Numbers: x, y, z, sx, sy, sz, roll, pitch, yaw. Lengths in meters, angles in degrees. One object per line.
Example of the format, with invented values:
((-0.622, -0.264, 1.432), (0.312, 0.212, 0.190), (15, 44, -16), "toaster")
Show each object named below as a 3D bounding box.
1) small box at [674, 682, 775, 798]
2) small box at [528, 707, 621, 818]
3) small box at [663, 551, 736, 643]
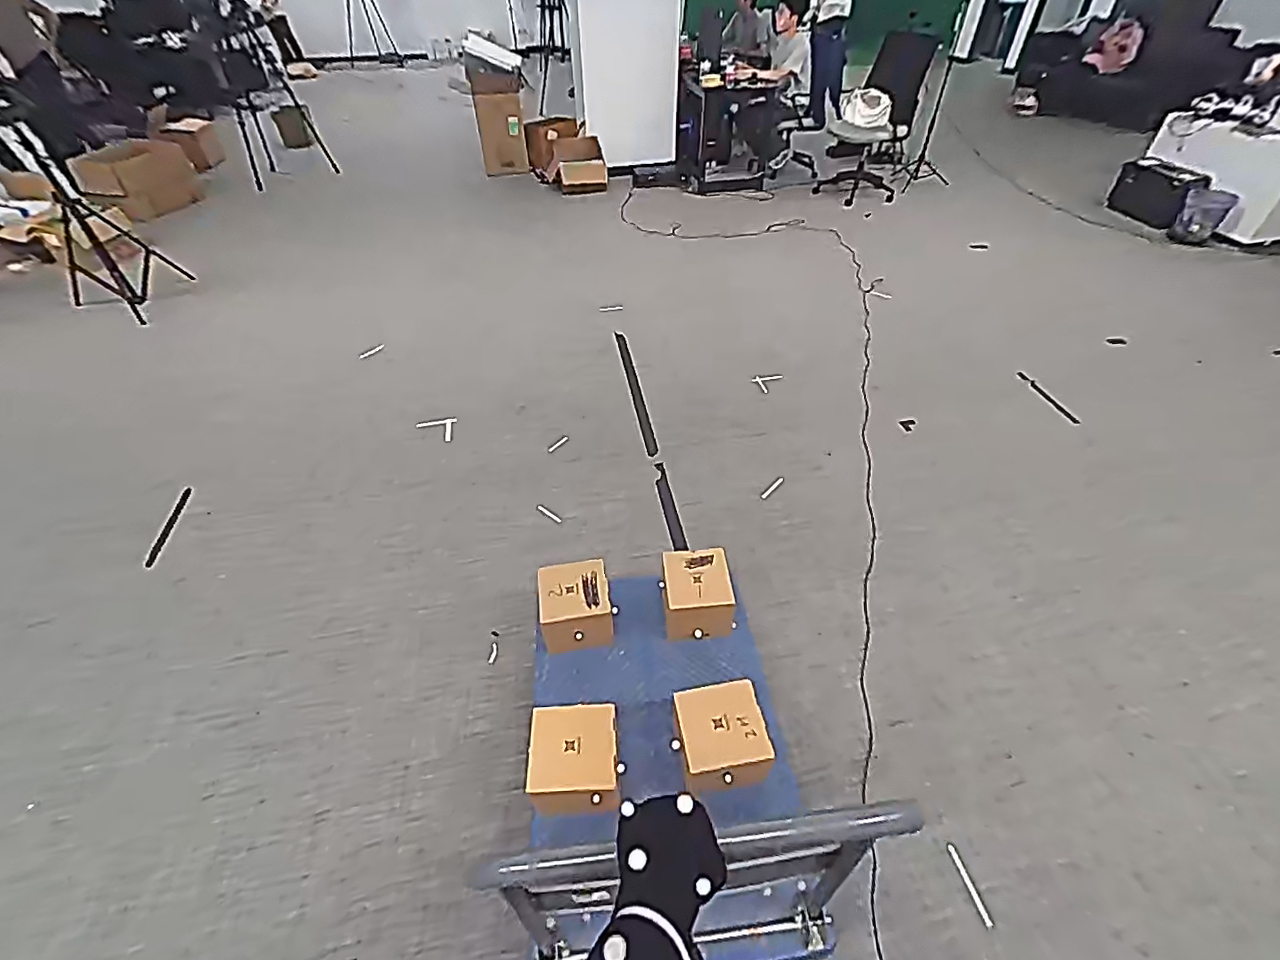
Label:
((0.176, 0.567, 1.172), (0.179, 0.176, 0.168), (-8, 45, -6), "small box")
((-0.132, 0.603, 1.150), (0.179, 0.176, 0.168), (-2, 44, -2), "small box")
((0.150, 0.310, 1.434), (0.168, 0.176, 0.179), (-4, 46, -2), "small box")
